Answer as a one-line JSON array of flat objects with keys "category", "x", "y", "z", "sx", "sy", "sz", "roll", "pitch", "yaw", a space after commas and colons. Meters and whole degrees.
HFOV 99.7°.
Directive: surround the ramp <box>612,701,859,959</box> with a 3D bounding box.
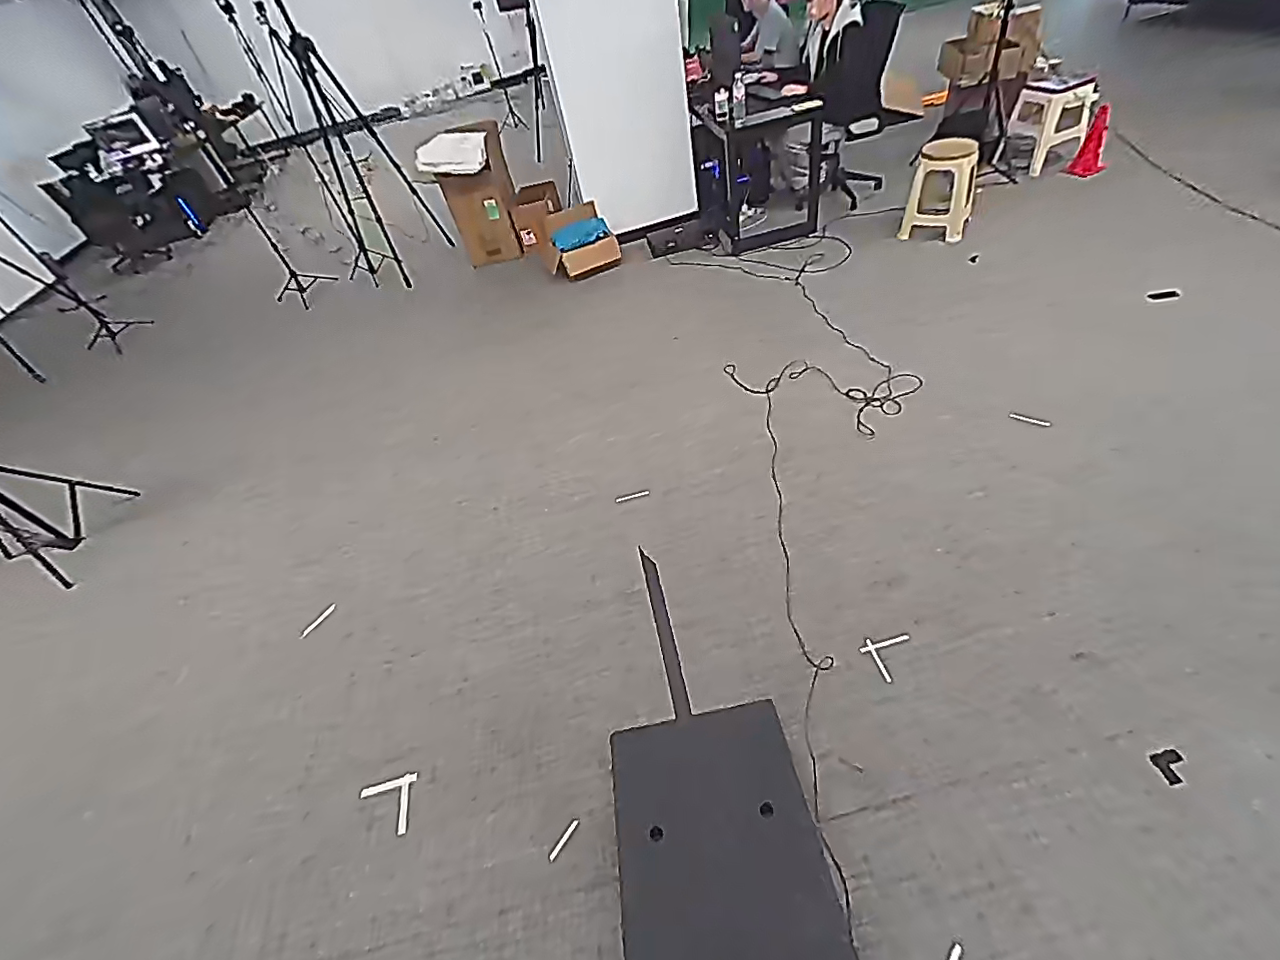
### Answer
[{"category": "ramp", "x": 0.200, "y": 0.984, "z": 1.185, "sx": 0.509, "sy": 0.206, "sz": 0.991, "roll": -15, "pitch": 44, "yaw": 1}]
